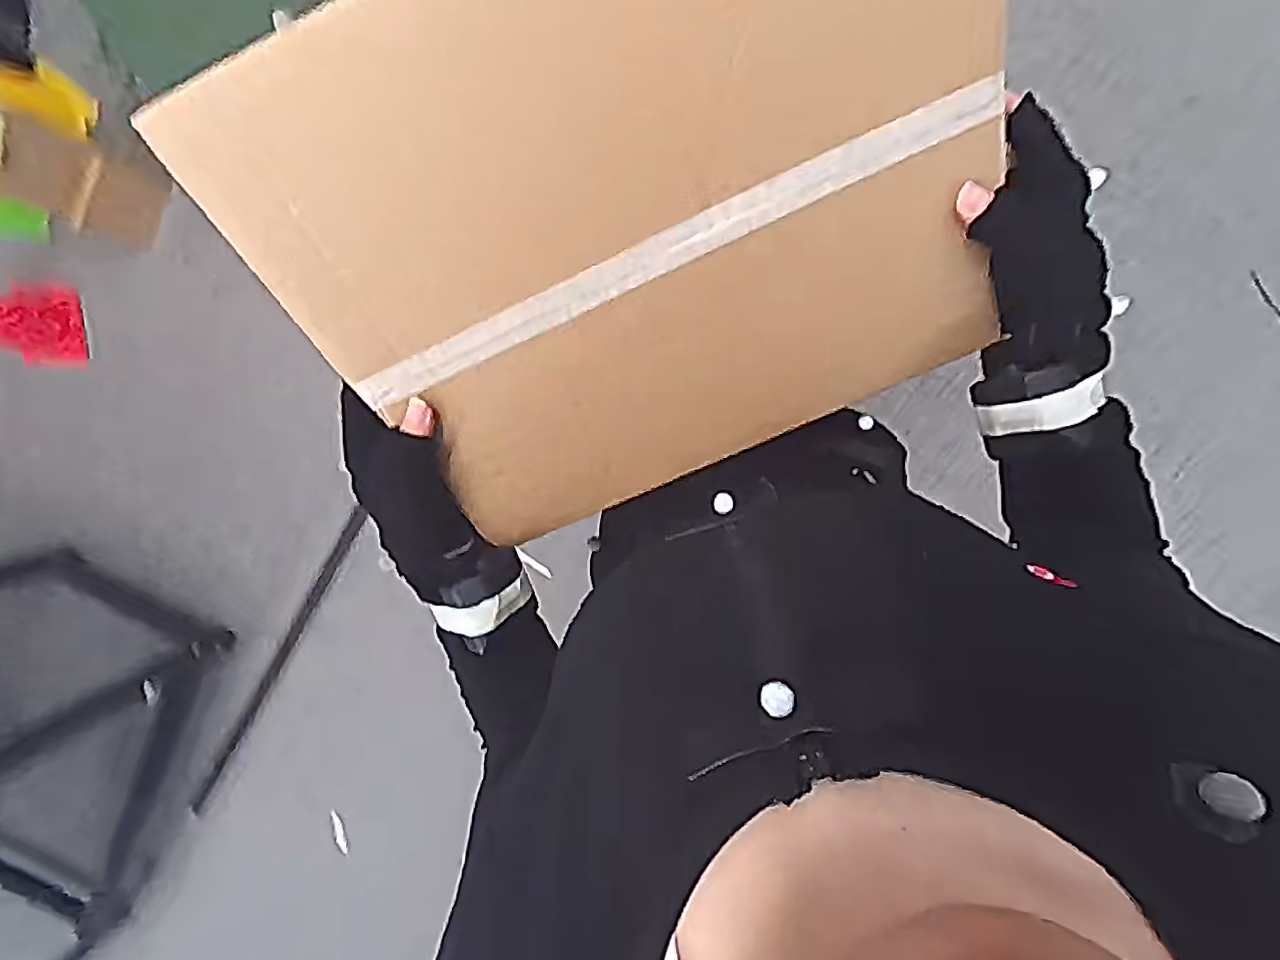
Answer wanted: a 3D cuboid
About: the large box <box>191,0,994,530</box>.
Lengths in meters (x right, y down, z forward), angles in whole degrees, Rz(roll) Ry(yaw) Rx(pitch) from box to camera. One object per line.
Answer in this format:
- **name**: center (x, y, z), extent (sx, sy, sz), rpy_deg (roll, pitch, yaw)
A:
- **large box**: center (-0.009, -0.228, 0.446), extent (0.408, 0.320, 0.320), rpy_deg (-22, 127, 6)
